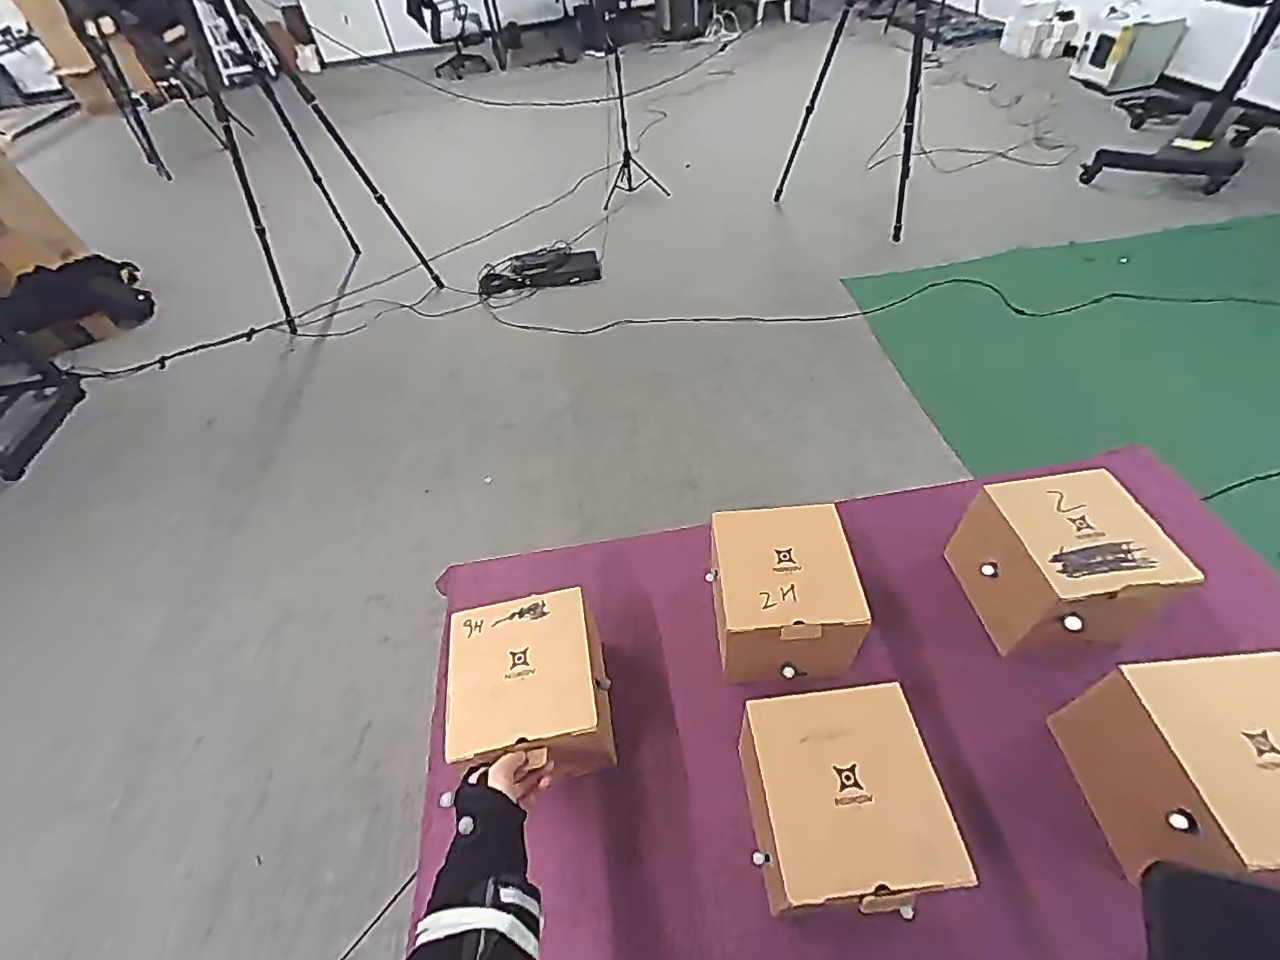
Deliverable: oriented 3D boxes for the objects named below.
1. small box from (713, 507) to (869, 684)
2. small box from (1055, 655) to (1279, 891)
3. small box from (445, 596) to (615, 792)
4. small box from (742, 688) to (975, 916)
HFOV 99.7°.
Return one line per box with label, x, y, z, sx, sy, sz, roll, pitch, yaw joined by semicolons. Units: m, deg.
small box;0.188;0.159;0.734;0.168;0.176;0.179;-5;49;4
small box;0.583;0.302;0.555;0.168;0.176;0.179;-6;49;3
small box;-0.130;0.274;0.678;0.168;0.176;0.179;-11;50;-3
small box;0.207;0.345;0.573;0.168;0.176;0.179;-7;48;1
